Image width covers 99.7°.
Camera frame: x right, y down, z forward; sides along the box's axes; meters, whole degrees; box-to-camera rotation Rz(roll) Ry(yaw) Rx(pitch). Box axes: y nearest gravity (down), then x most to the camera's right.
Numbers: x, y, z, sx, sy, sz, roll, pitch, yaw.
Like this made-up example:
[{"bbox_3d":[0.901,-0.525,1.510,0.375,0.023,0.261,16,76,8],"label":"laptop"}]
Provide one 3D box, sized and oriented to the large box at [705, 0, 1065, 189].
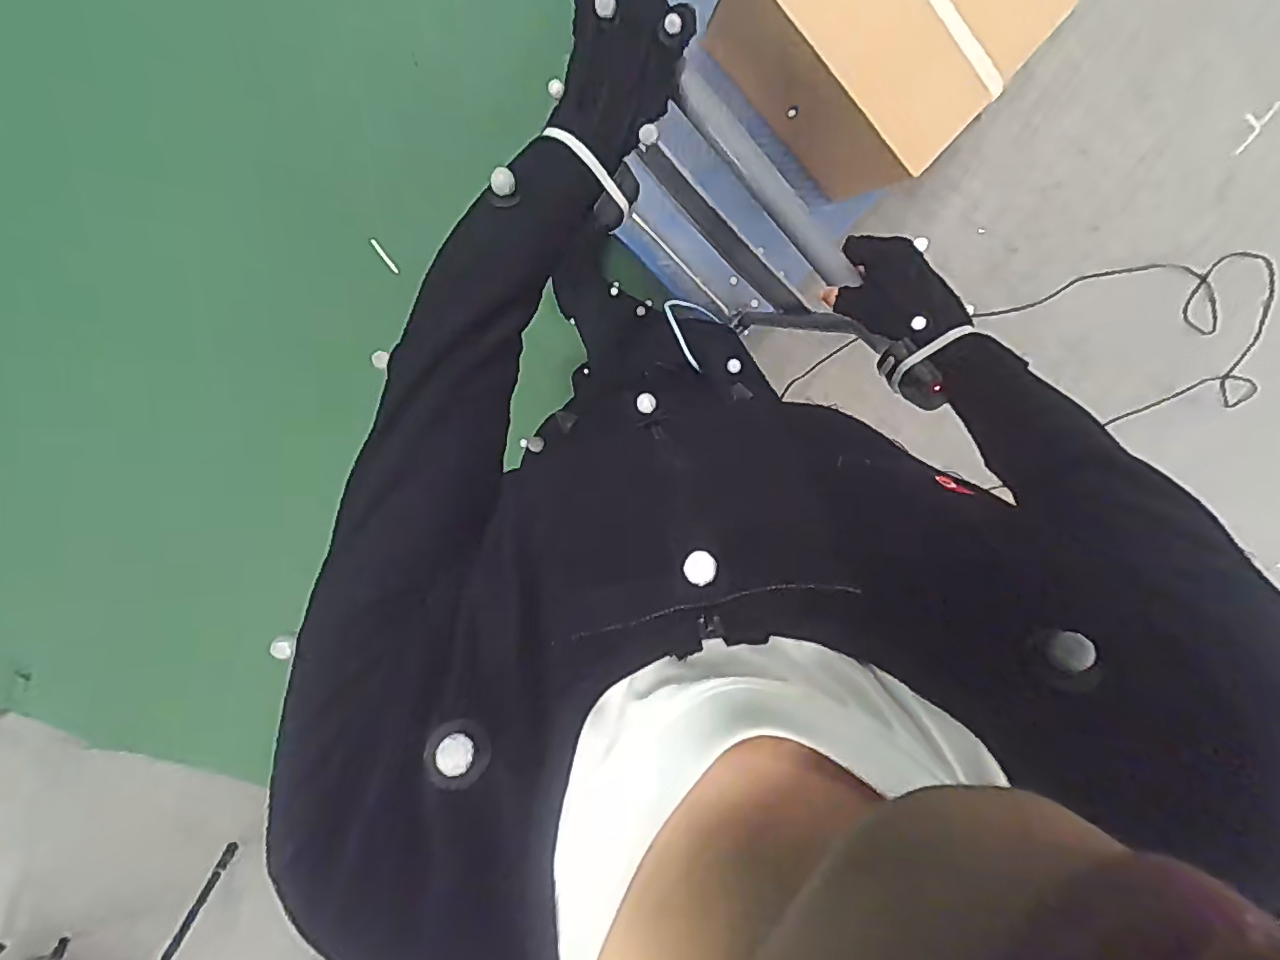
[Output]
[{"bbox_3d":[0.374,-0.772,0.902,0.408,0.320,0.320,39,103,-17],"label":"large box"}]
